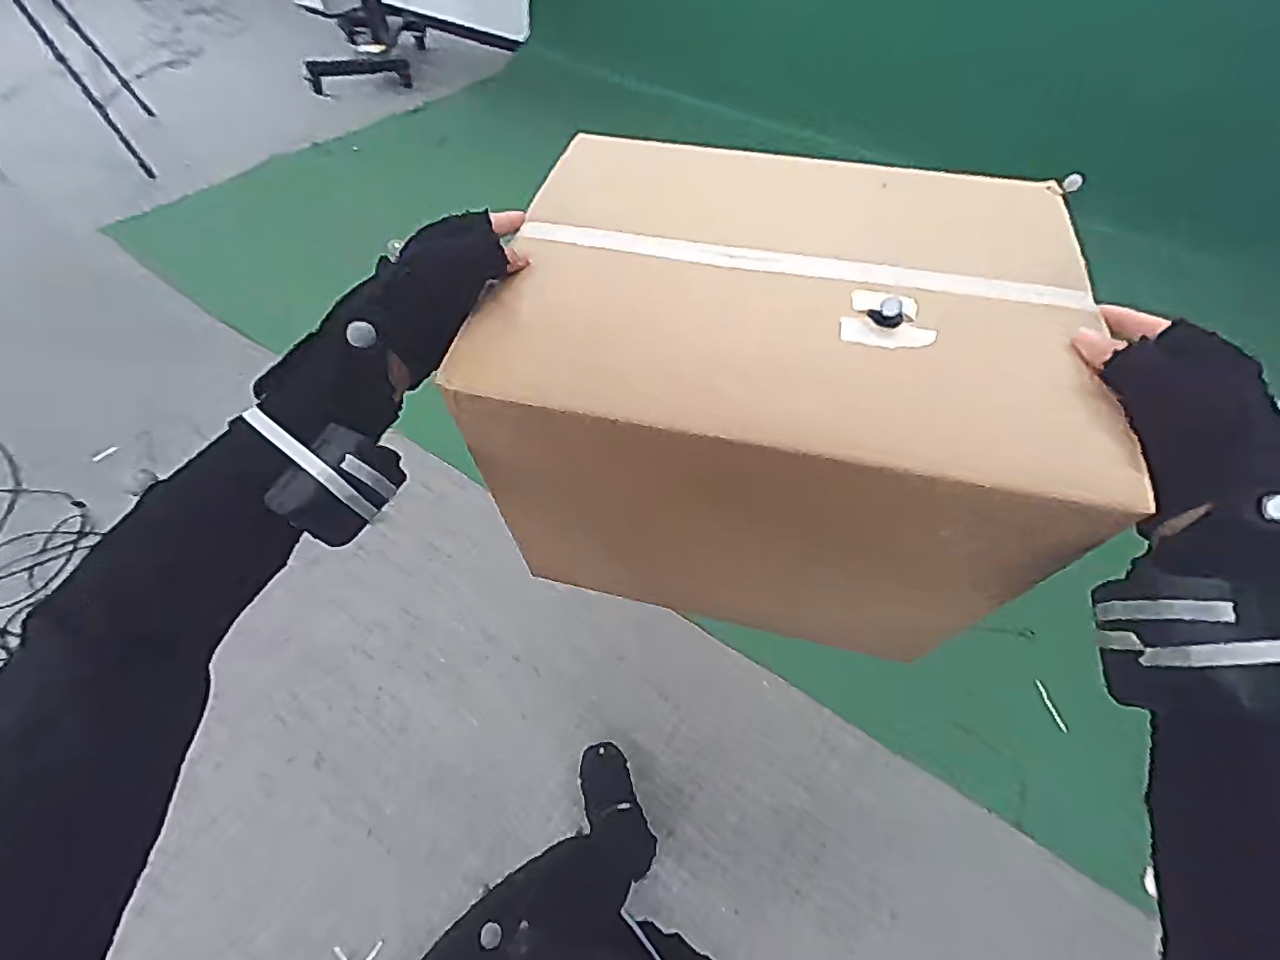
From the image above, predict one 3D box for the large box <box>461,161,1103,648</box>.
[{"bbox_3d":[0.104,-0.064,0.534,0.408,0.320,0.320,11,58,8],"label":"large box"}]
